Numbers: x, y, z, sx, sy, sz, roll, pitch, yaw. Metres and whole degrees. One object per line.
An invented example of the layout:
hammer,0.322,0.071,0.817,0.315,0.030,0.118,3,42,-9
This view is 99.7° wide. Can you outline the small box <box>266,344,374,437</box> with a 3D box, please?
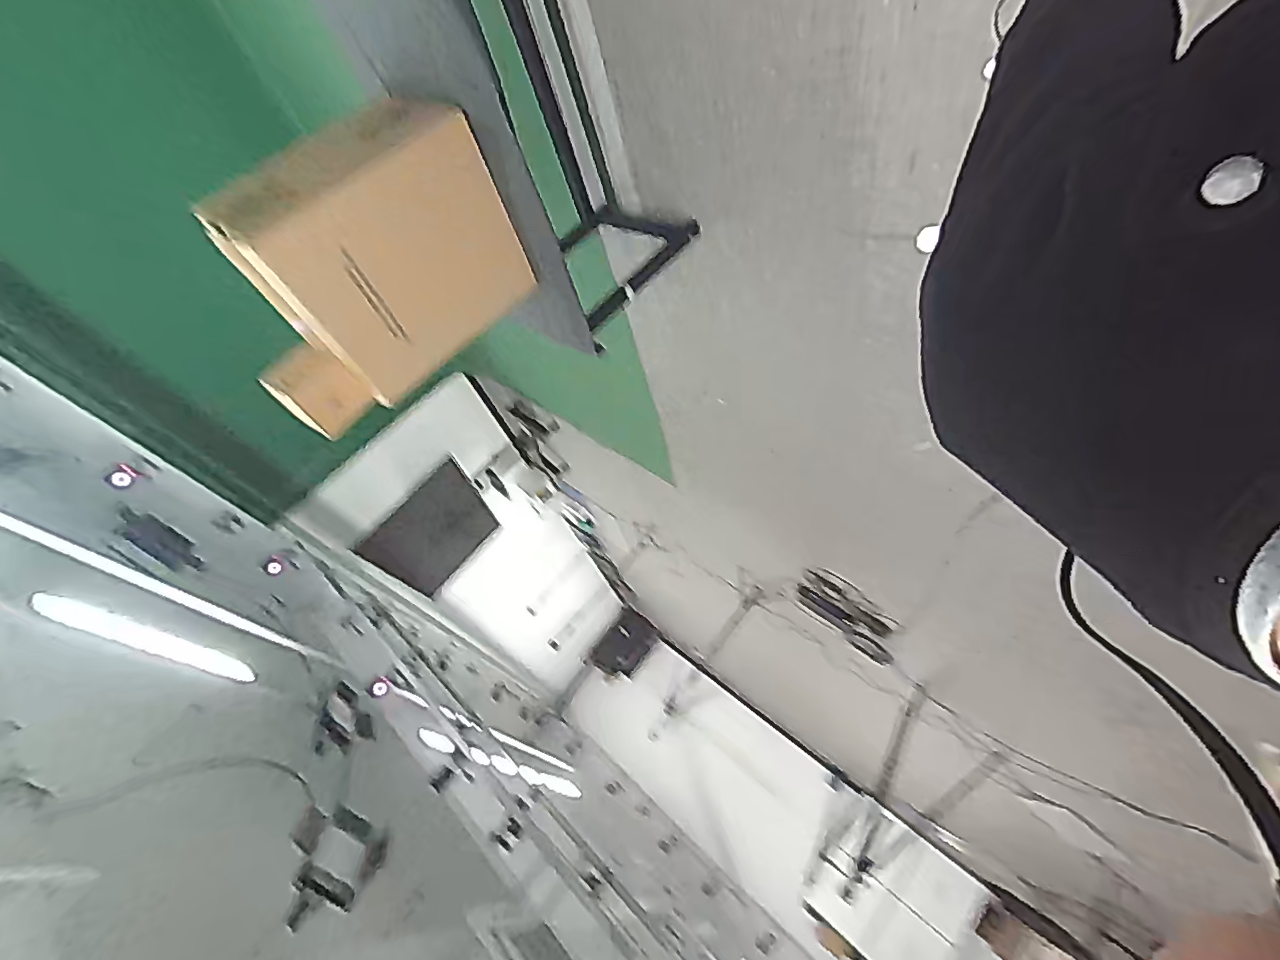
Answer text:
small box,-0.919,-0.261,1.570,0.168,0.176,0.179,23,155,27
